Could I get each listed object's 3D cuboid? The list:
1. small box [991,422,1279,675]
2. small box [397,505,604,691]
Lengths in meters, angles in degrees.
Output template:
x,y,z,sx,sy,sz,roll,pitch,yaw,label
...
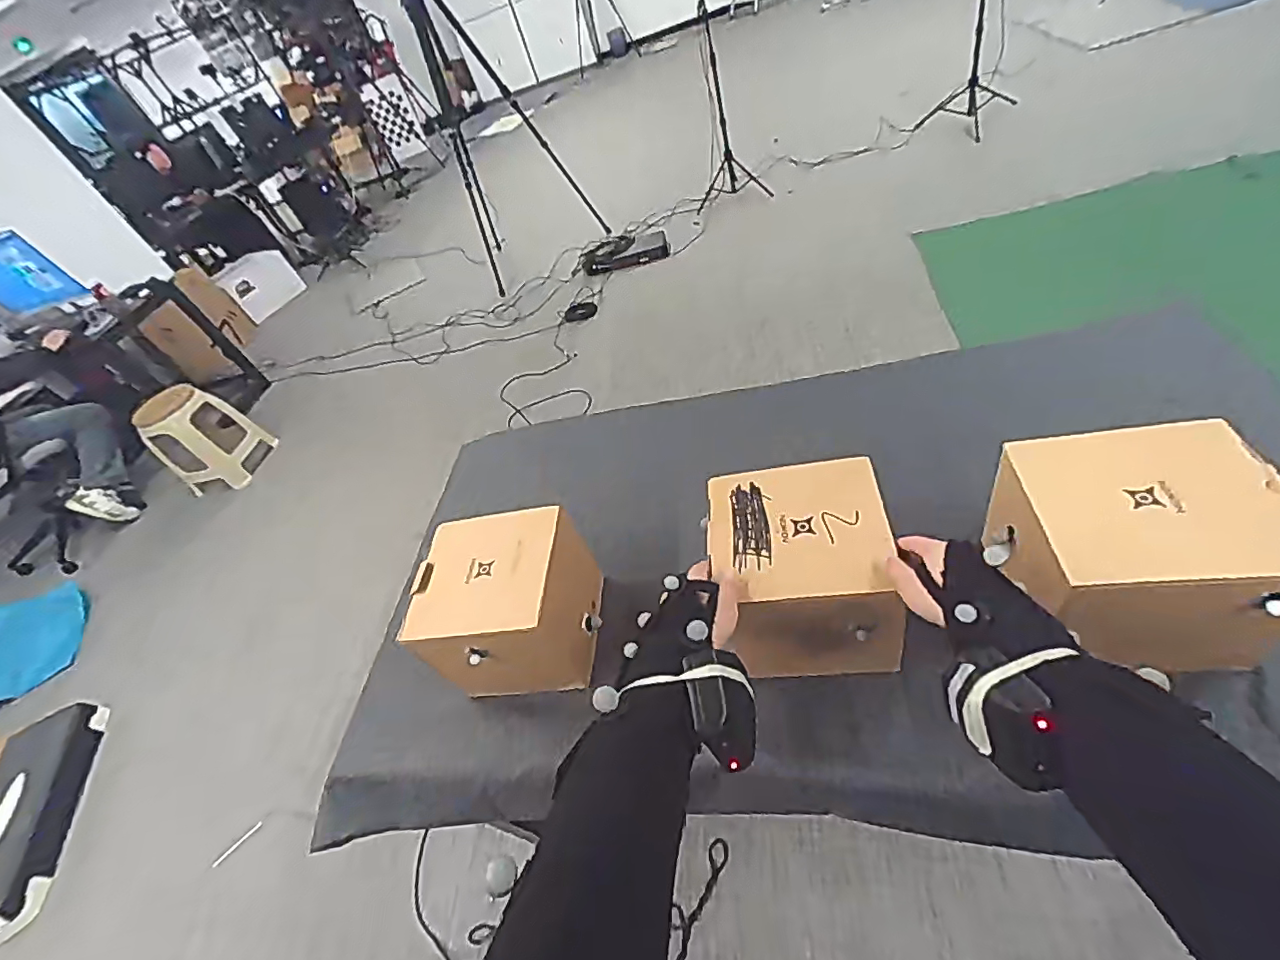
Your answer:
x,y,z,sx,sy,sz,roll,pitch,yaw,label
0.454,0.072,0.509,0.179,0.176,0.168,-7,46,17,small box
-0.160,0.156,0.684,0.179,0.176,0.168,-9,47,14,small box
